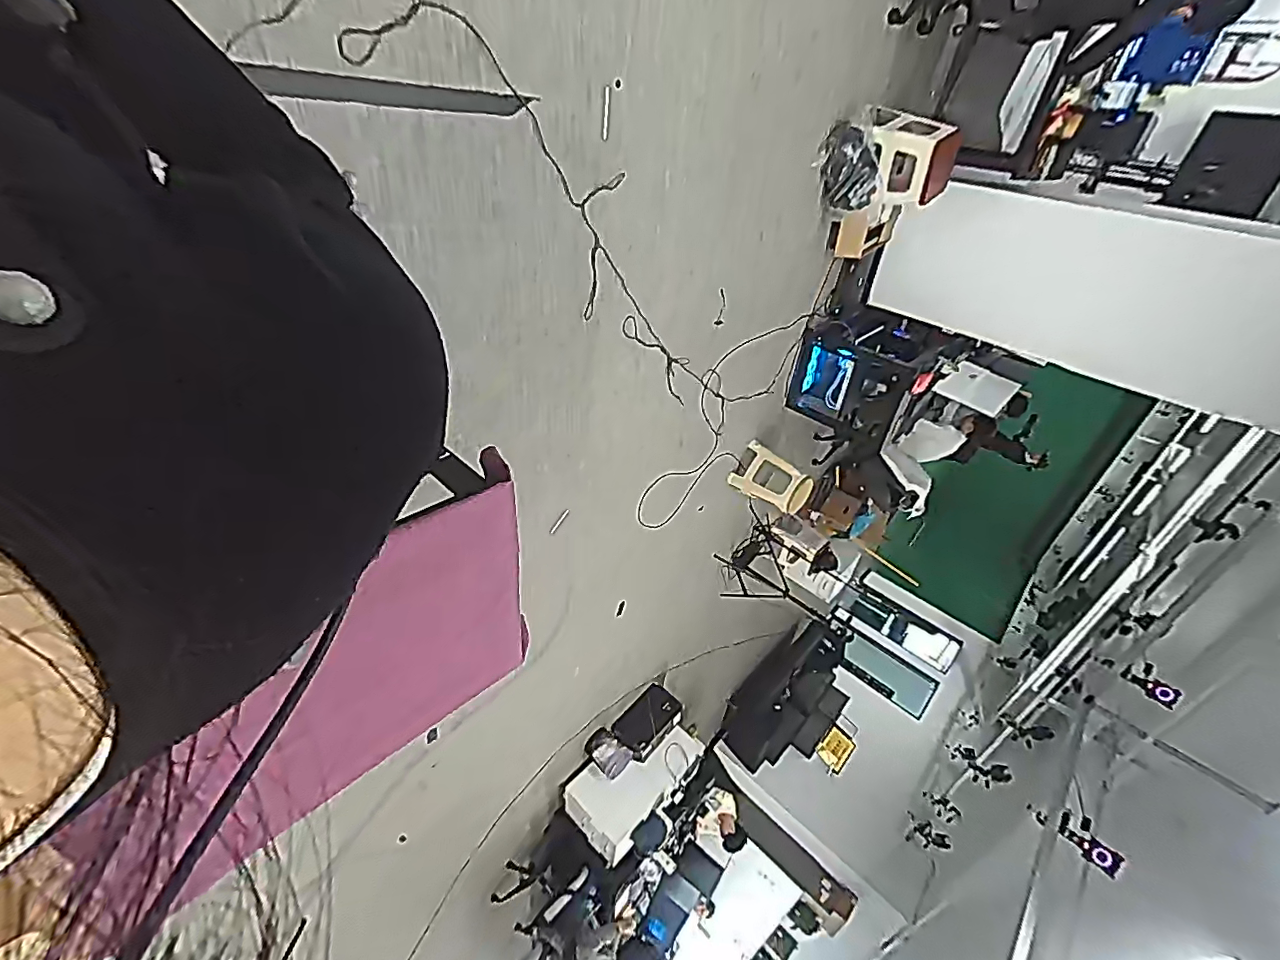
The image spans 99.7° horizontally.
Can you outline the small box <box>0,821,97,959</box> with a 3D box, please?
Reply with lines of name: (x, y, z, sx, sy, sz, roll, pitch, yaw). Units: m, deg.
small box: (-0.830, 0.578, 0.666, 0.179, 0.176, 0.168, -28, 139, -41)
